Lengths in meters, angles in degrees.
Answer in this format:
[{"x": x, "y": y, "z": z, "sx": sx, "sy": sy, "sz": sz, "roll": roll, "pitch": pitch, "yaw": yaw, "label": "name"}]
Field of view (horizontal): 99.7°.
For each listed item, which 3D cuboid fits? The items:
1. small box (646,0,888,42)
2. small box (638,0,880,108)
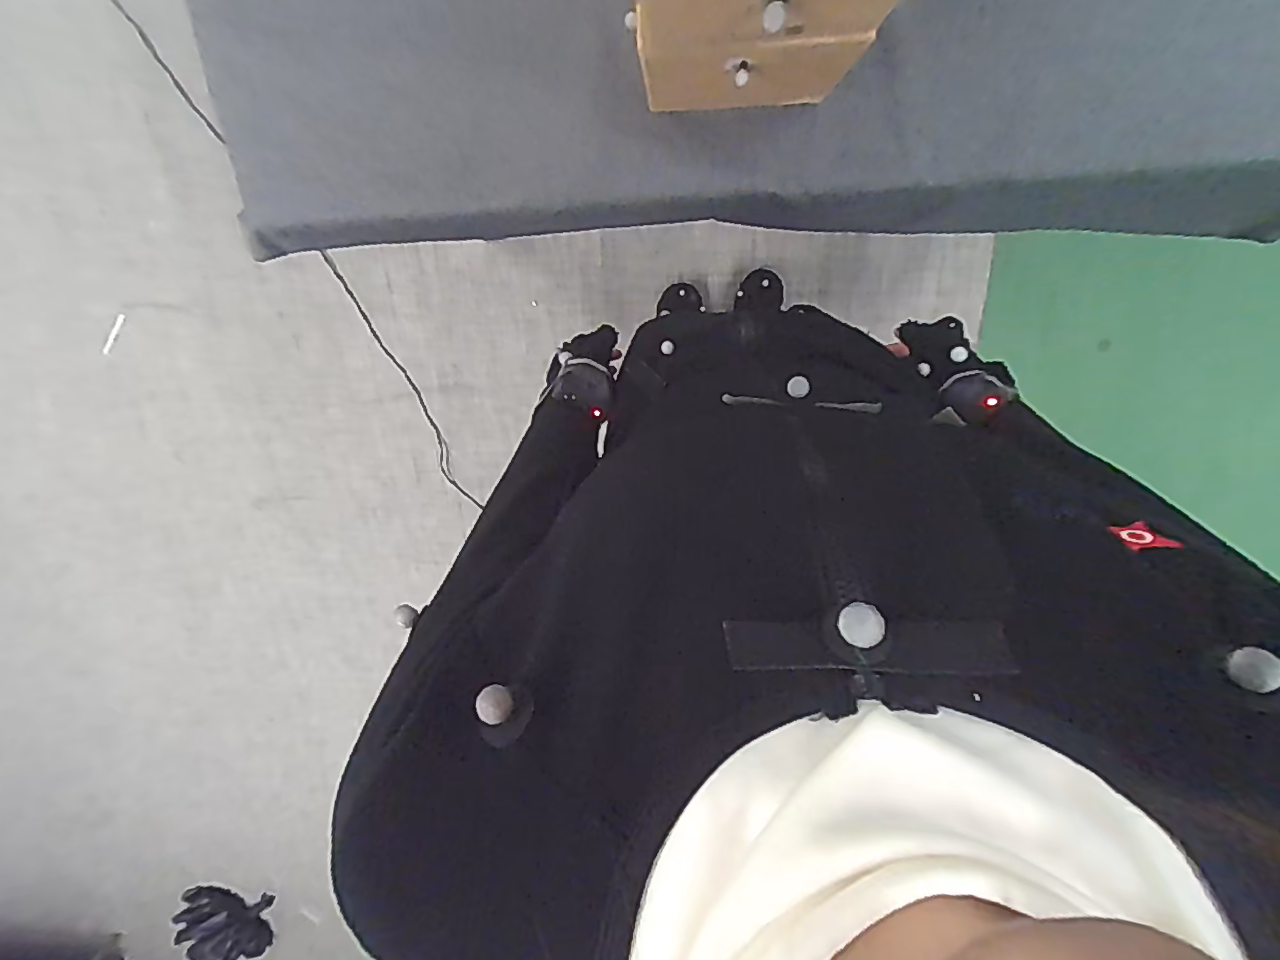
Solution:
[{"x": 0.079, "y": -0.371, "z": 0.293, "sx": 0.168, "sy": 0.176, "sz": 0.179, "roll": -2, "pitch": 112, "yaw": 6, "label": "small box"}, {"x": 0.090, "y": -0.427, "z": 0.446, "sx": 0.179, "sy": 0.176, "sz": 0.168, "roll": -1, "pitch": 112, "yaw": 4, "label": "small box"}]
